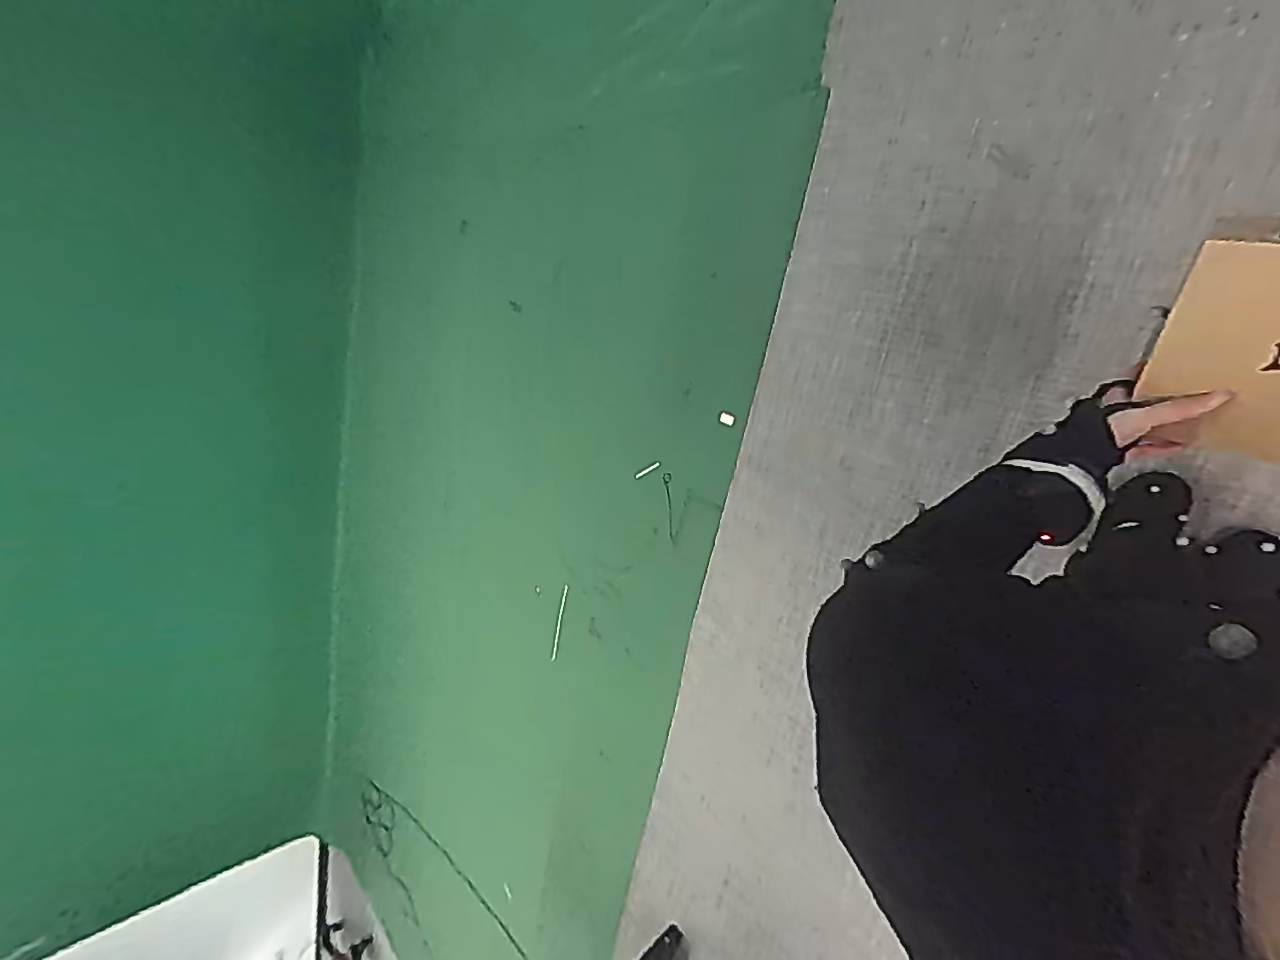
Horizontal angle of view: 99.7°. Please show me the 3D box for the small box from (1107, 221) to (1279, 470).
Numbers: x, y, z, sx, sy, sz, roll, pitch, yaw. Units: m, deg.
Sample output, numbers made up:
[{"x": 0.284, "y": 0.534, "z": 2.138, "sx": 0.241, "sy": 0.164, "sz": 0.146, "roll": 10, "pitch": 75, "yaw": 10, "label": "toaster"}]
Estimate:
[{"x": 0.557, "y": -0.121, "z": 0.466, "sx": 0.179, "sy": 0.176, "sz": 0.168, "roll": 26, "pitch": 133, "yaw": 37, "label": "small box"}]
